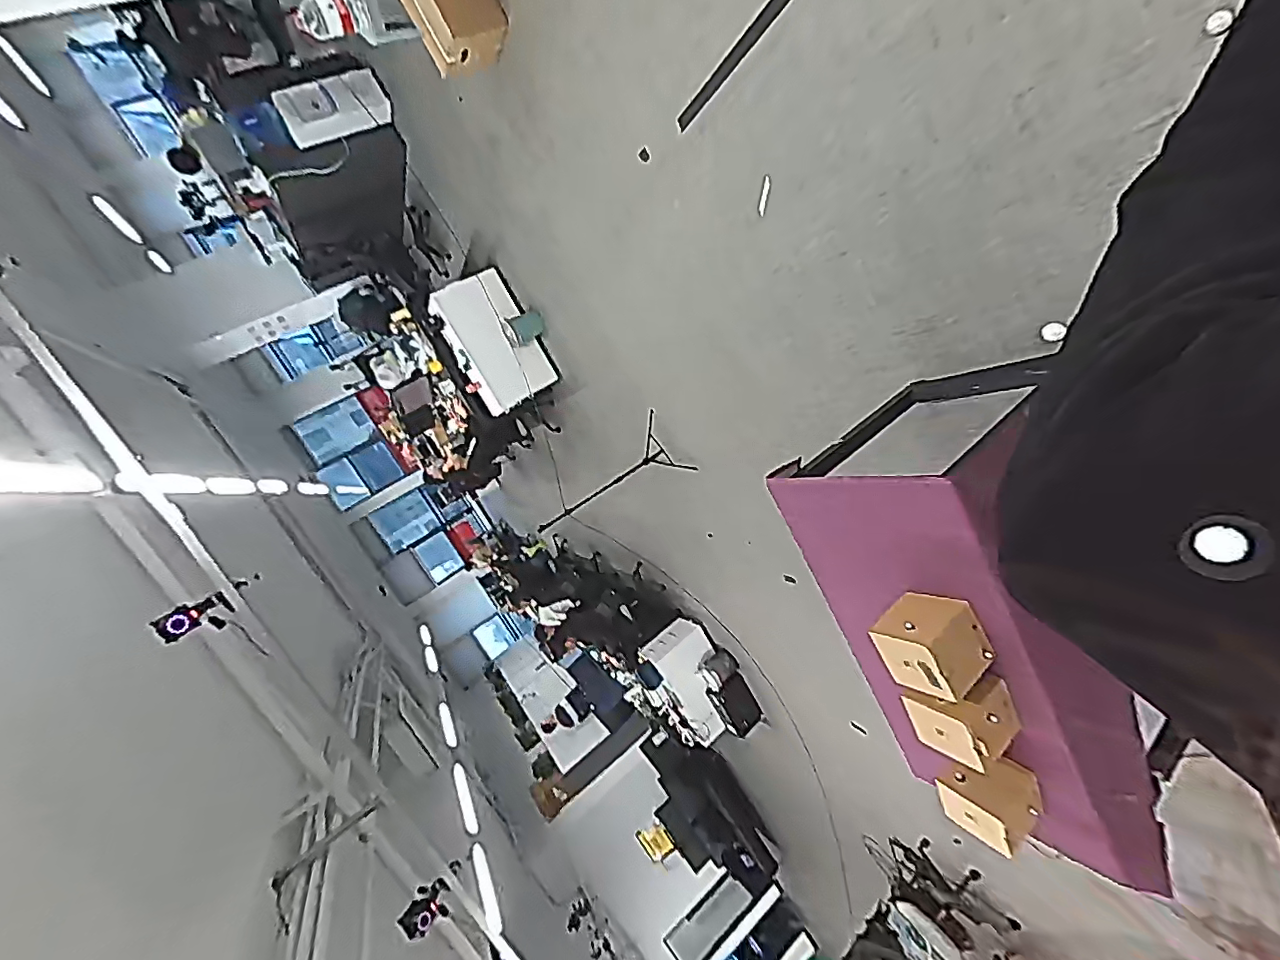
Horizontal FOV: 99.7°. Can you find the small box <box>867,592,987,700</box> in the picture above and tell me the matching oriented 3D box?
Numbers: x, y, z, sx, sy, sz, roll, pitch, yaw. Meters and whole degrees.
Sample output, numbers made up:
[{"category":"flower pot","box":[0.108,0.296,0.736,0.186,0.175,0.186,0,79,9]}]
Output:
[{"category":"small box","box":[0.705,0.393,1.317,0.168,0.176,0.179,59,160,-9]}]

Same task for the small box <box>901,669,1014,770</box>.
[{"category":"small box","box":[0.810,0.580,1.370,0.179,0.176,0.168,6,126,63]}]

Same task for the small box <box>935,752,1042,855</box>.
[{"category":"small box","box":[0.946,0.849,1.468,0.179,0.176,0.168,15,135,58]}]
